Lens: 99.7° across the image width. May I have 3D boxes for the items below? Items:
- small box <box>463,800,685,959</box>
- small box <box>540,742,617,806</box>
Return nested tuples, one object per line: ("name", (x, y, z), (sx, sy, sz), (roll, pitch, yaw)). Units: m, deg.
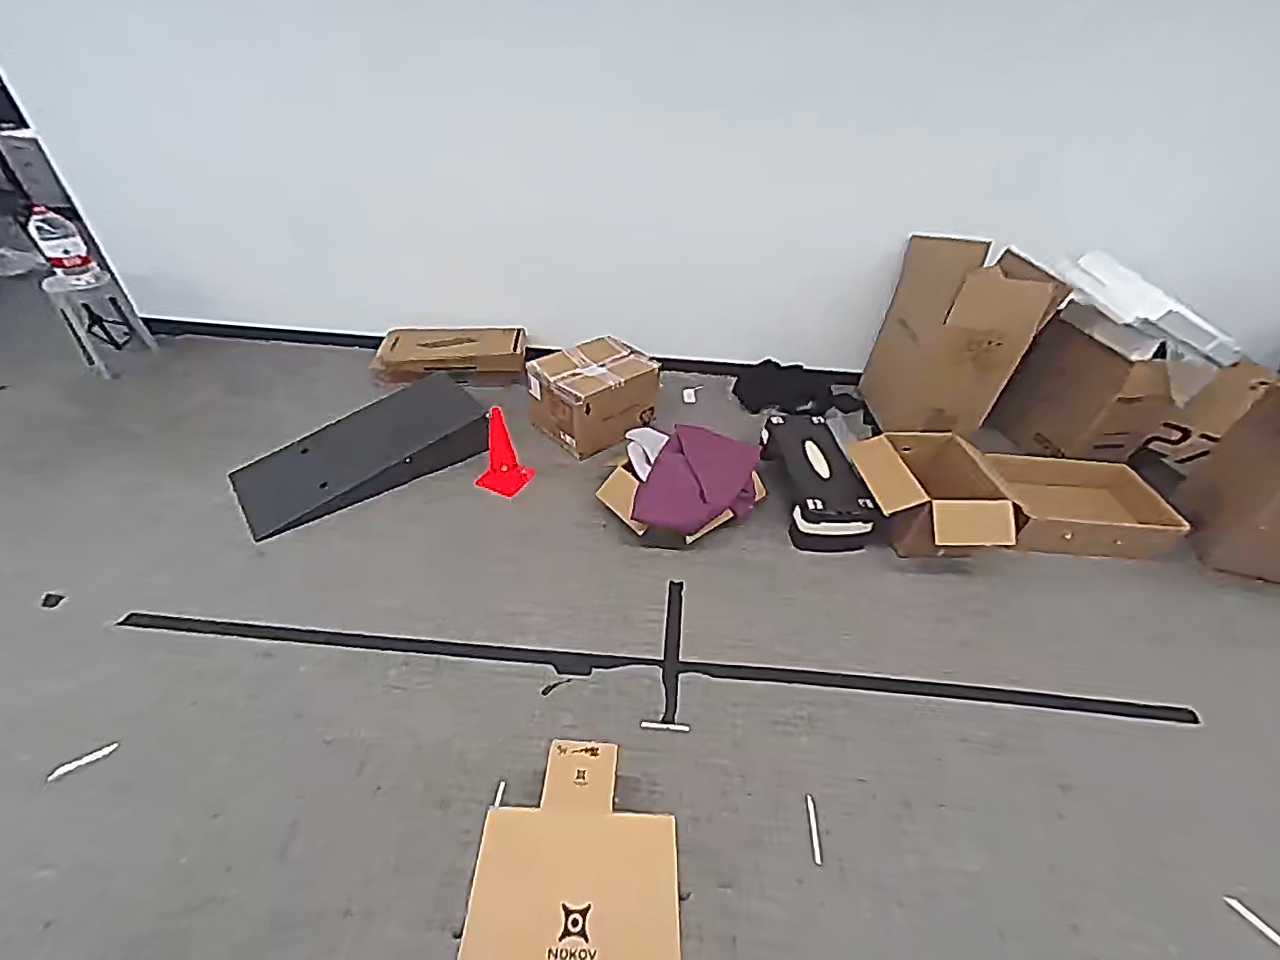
("small box", (-0.057, 0.403, 0.460), (0.168, 0.176, 0.179), (4, 39, -4))
("small box", (-0.144, 0.768, 1.317), (0.168, 0.176, 0.179), (4, 40, 2))
